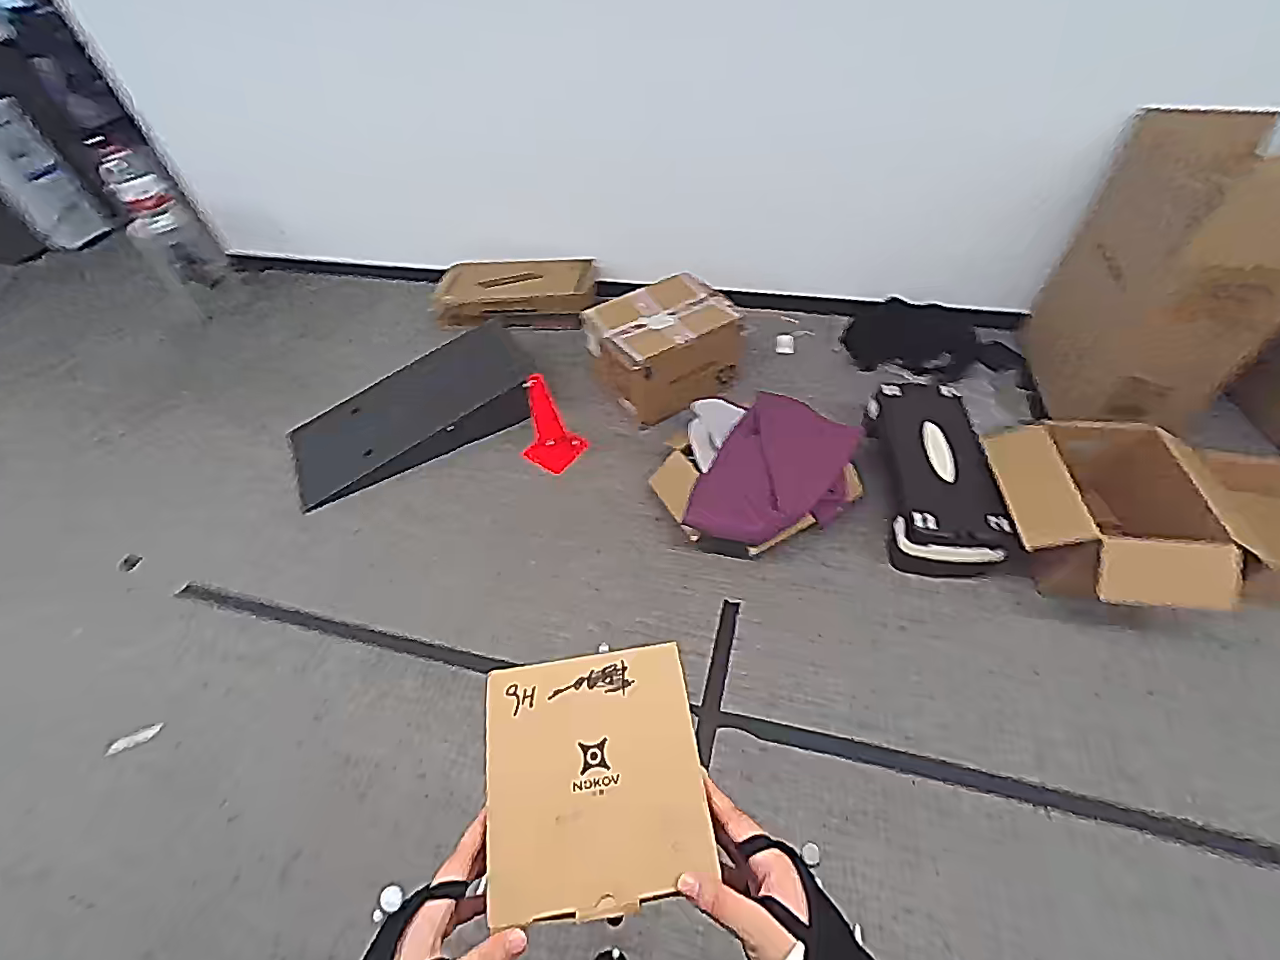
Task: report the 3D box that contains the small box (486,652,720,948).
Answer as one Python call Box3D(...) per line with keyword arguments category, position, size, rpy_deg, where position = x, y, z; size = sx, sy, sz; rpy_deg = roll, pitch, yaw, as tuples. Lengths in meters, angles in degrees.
Box3D(category="small box", position=(-0.034, 0.274, 0.482), size=(0.168, 0.176, 0.179), rpy_deg=(-9, 58, -5))
